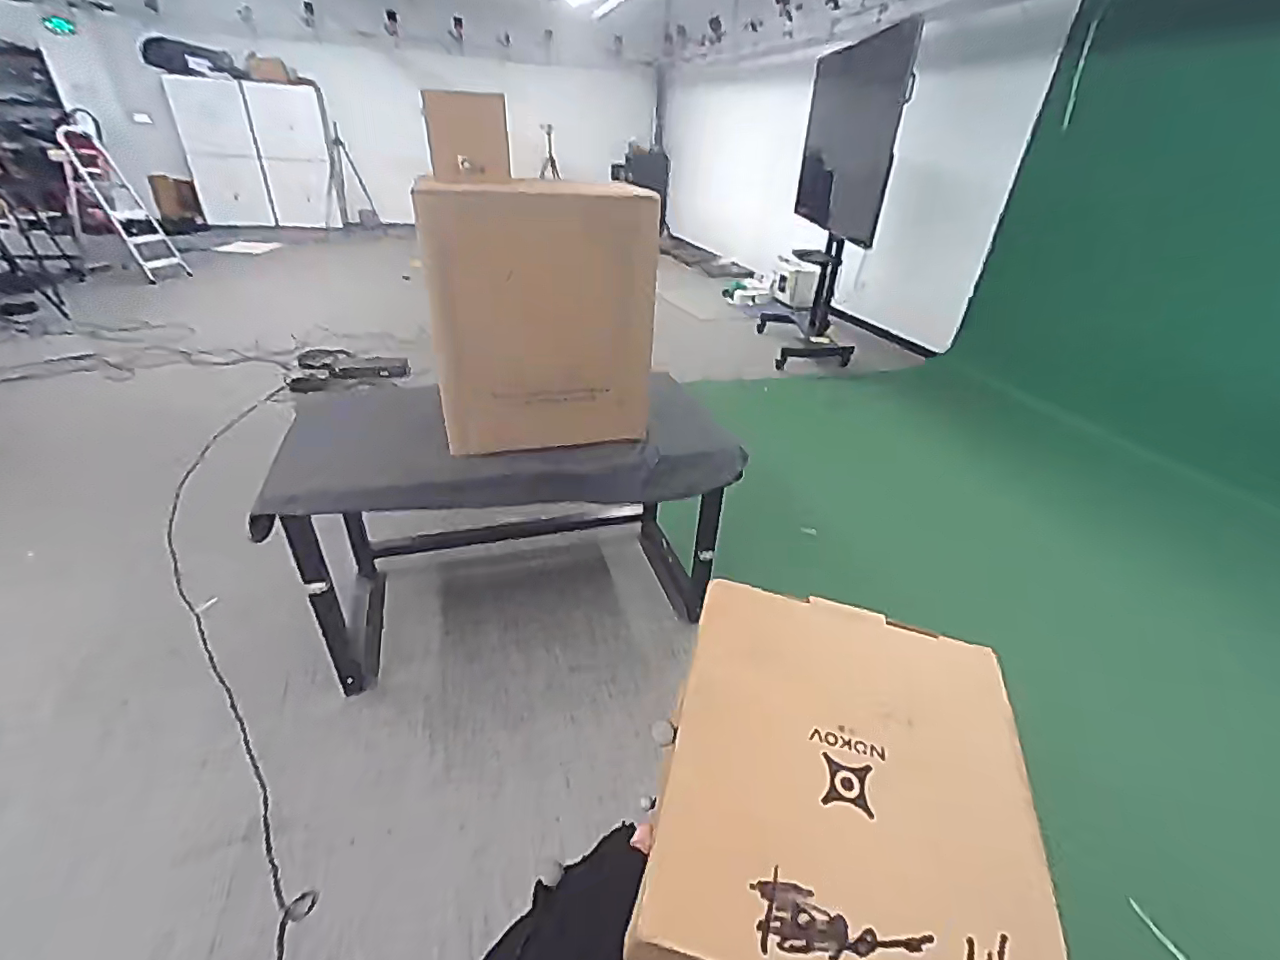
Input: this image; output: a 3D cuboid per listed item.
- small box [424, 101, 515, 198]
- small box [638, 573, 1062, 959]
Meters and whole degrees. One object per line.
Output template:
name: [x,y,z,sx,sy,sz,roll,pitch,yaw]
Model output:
small box: [-0.377,-0.733,1.200,0.168,0.176,0.179,-10,37,-15]
small box: [0.097,0.190,0.322,0.168,0.176,0.179,12,45,9]
